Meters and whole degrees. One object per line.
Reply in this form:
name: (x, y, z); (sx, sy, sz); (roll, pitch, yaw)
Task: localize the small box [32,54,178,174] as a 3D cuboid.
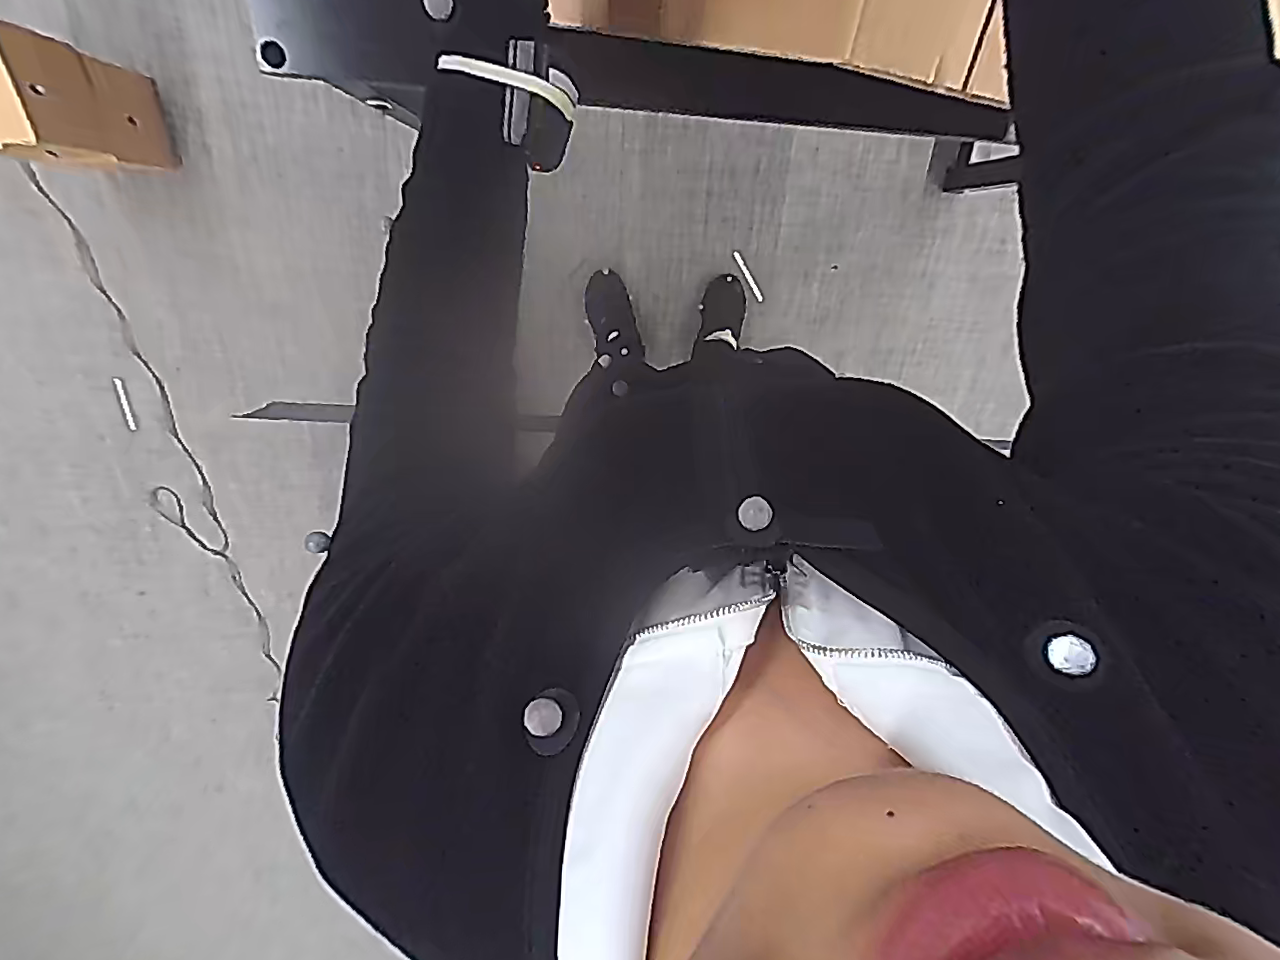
small box: (-1.087, -0.720, 1.078); (0.168, 0.176, 0.179); (-1, 115, -3)

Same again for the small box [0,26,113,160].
small box: (-1.079, -0.658, 0.928); (0.168, 0.176, 0.179); (-4, 114, -2)
